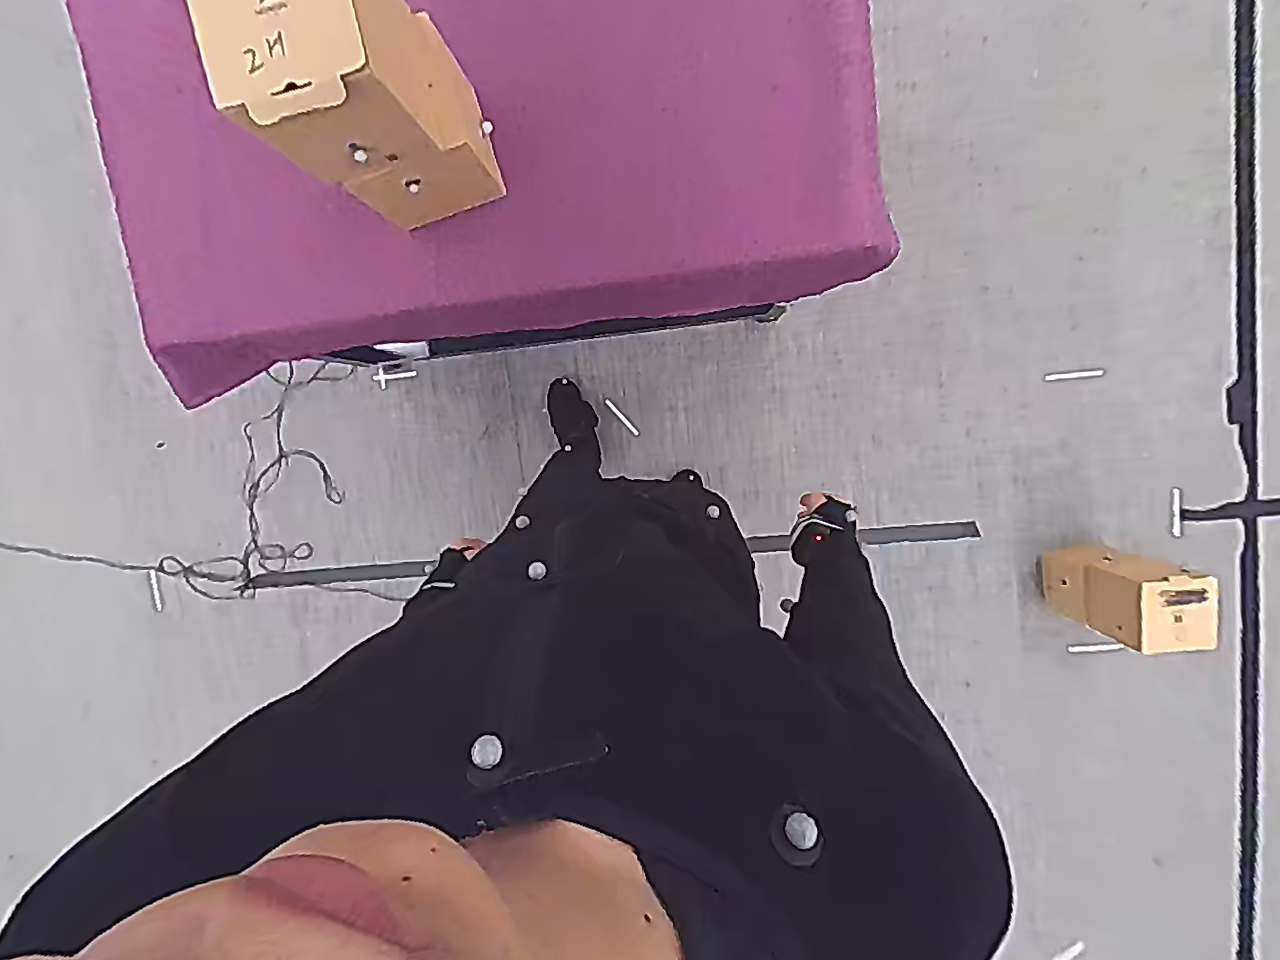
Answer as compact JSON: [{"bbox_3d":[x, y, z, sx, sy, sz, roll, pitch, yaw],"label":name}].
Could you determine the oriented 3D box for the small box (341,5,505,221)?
[{"bbox_3d":[-0.316,-0.493,0.759,0.179,0.176,0.168,-16,96,5],"label":"small box"}]

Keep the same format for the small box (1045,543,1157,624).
[{"bbox_3d":[1.250,0.278,1.481,0.179,0.176,0.168,-9,96,5],"label":"small box"}]

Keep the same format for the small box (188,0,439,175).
[{"bbox_3d":[-0.349,-0.477,0.597,0.168,0.176,0.179,-11,96,6],"label":"small box"}]
